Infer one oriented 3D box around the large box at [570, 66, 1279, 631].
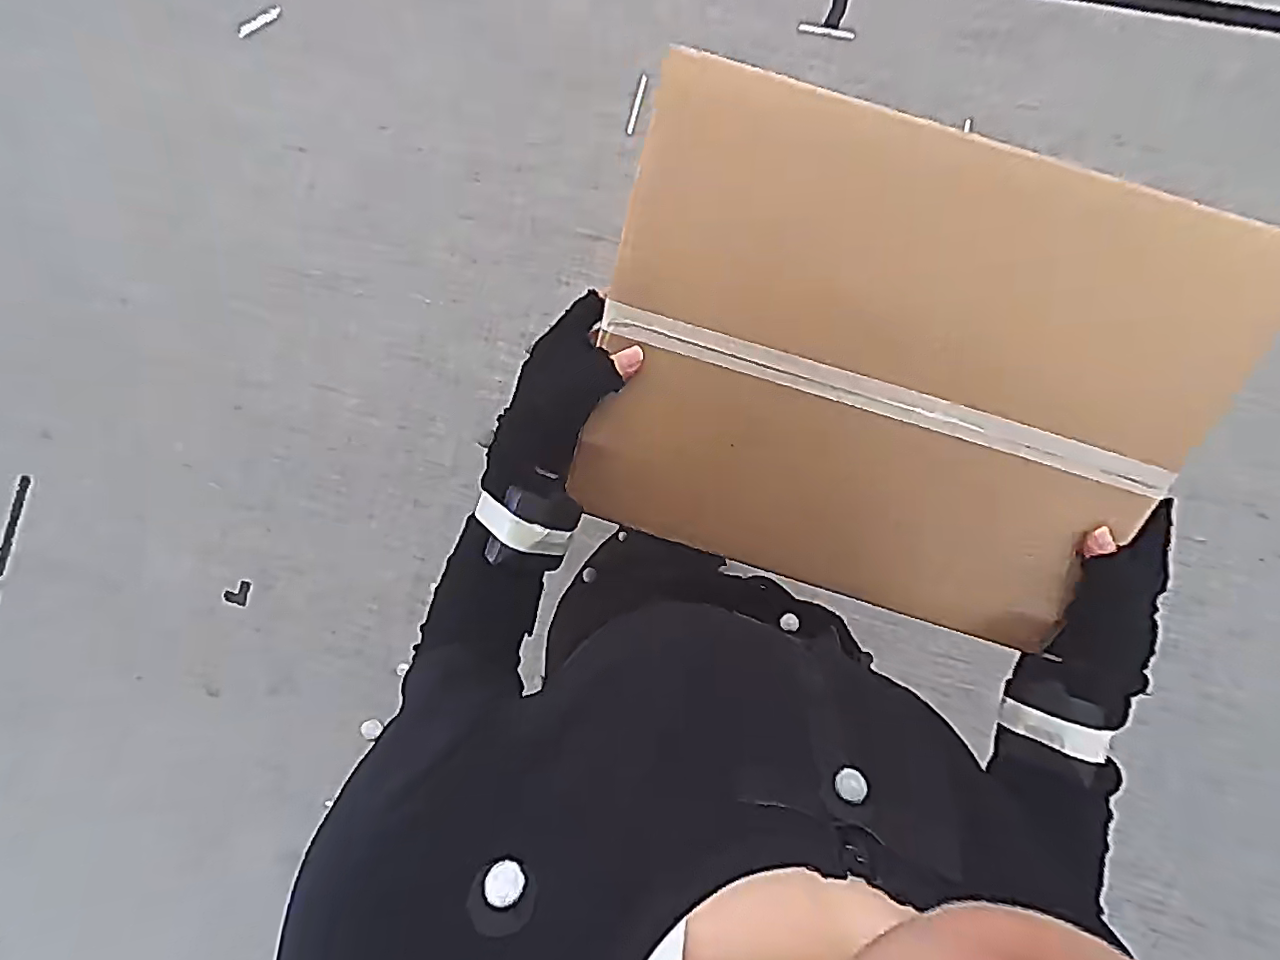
[{"bbox_3d":[0.184,-0.121,0.521,0.408,0.320,0.320,18,115,0],"label":"large box"}]
